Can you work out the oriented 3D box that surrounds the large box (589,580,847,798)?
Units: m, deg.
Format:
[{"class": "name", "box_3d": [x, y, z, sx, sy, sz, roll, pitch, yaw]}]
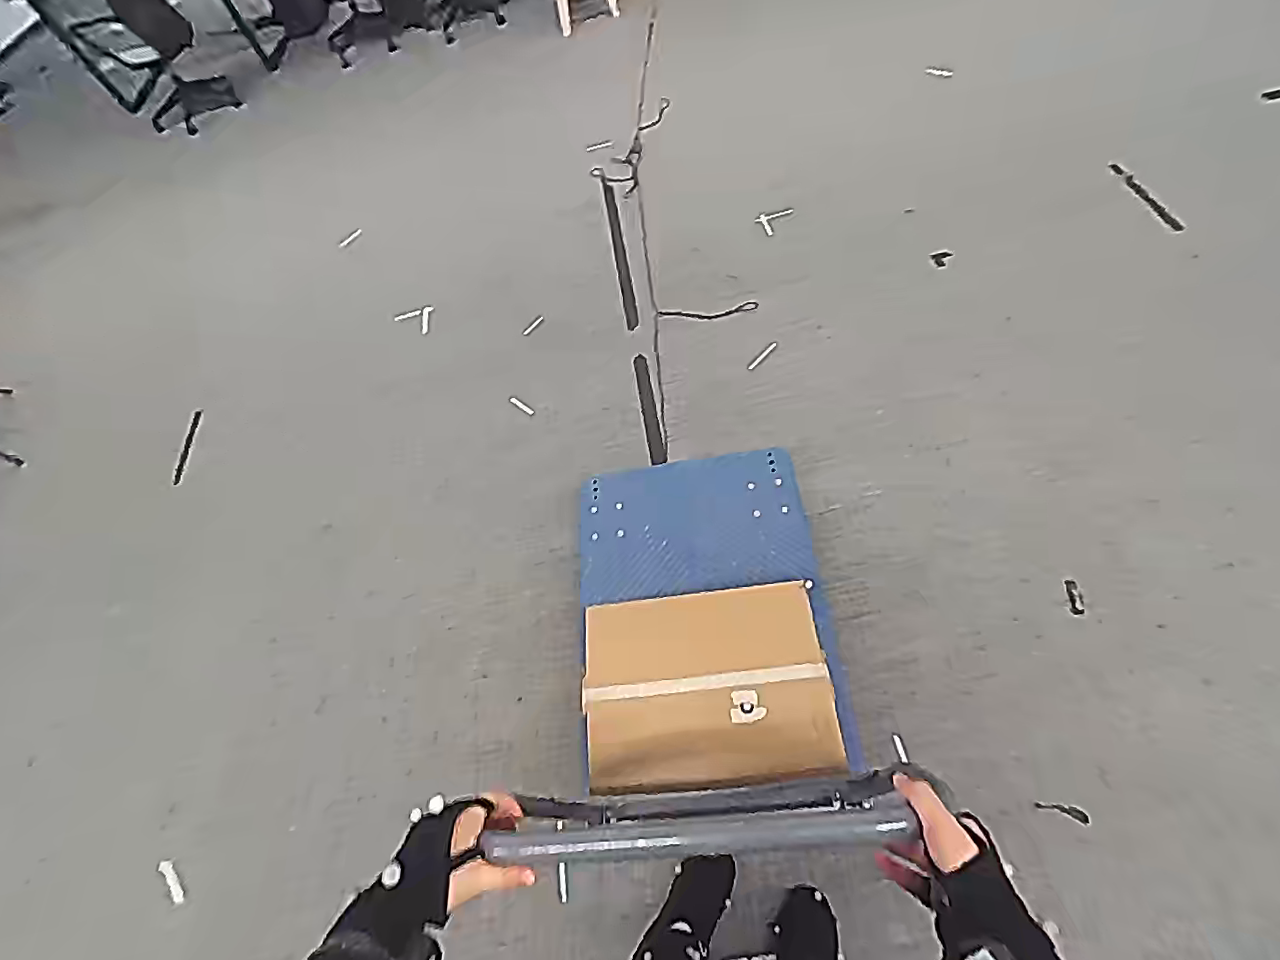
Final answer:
[{"class": "large box", "box_3d": [0.135, 0.418, 1.045, 0.408, 0.320, 0.320, -9, 59, 6]}]
